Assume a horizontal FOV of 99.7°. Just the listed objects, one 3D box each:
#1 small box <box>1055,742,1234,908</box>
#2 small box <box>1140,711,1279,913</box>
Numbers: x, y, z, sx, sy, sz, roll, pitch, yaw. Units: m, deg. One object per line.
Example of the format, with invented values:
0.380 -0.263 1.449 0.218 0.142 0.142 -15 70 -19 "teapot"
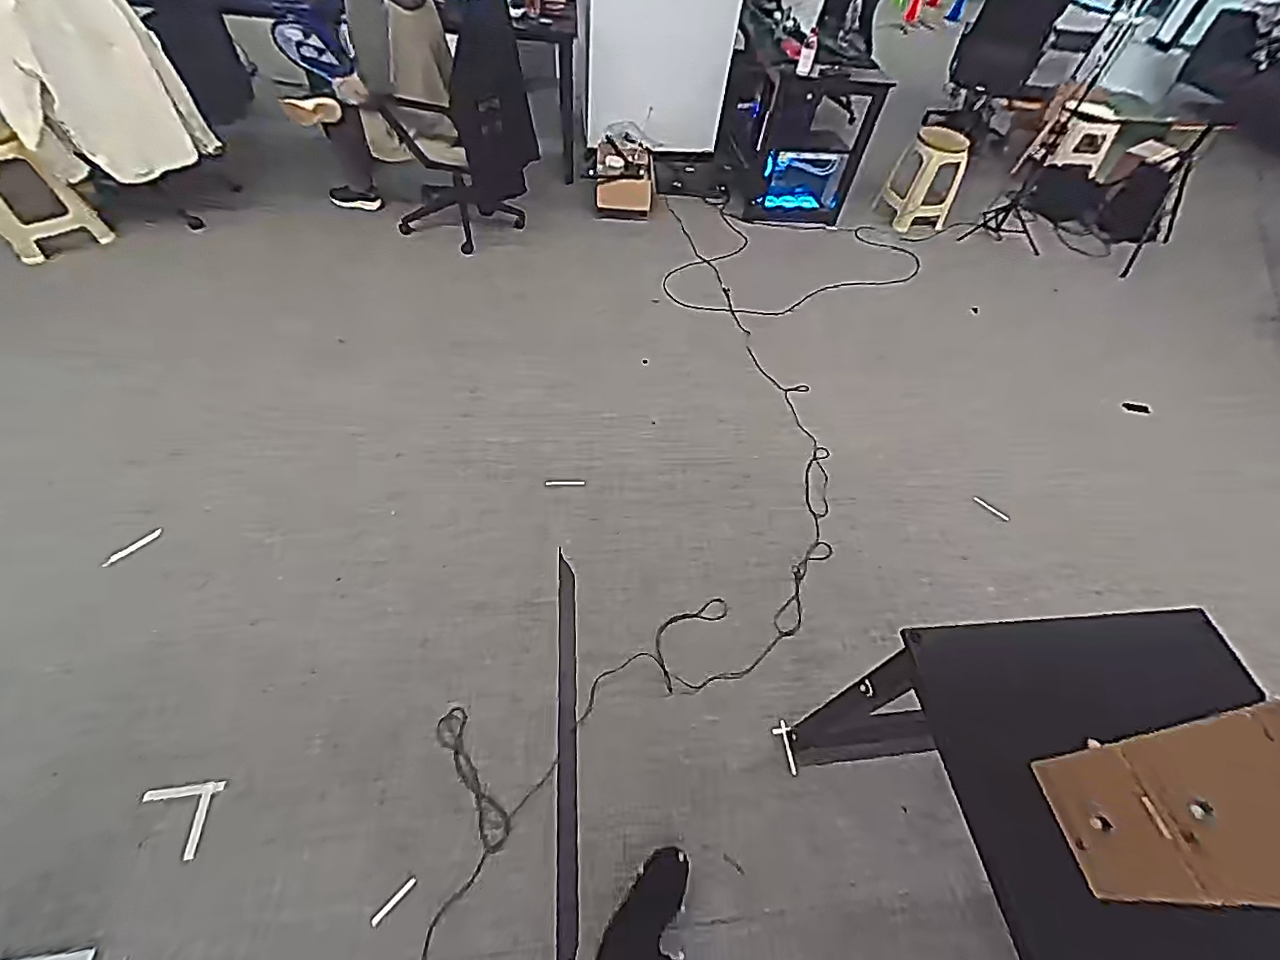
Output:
0.696 0.444 0.704 0.179 0.176 0.168 -3 54 -8 "small box"
0.712 0.345 0.573 0.179 0.176 0.168 -3 53 -8 "small box"
